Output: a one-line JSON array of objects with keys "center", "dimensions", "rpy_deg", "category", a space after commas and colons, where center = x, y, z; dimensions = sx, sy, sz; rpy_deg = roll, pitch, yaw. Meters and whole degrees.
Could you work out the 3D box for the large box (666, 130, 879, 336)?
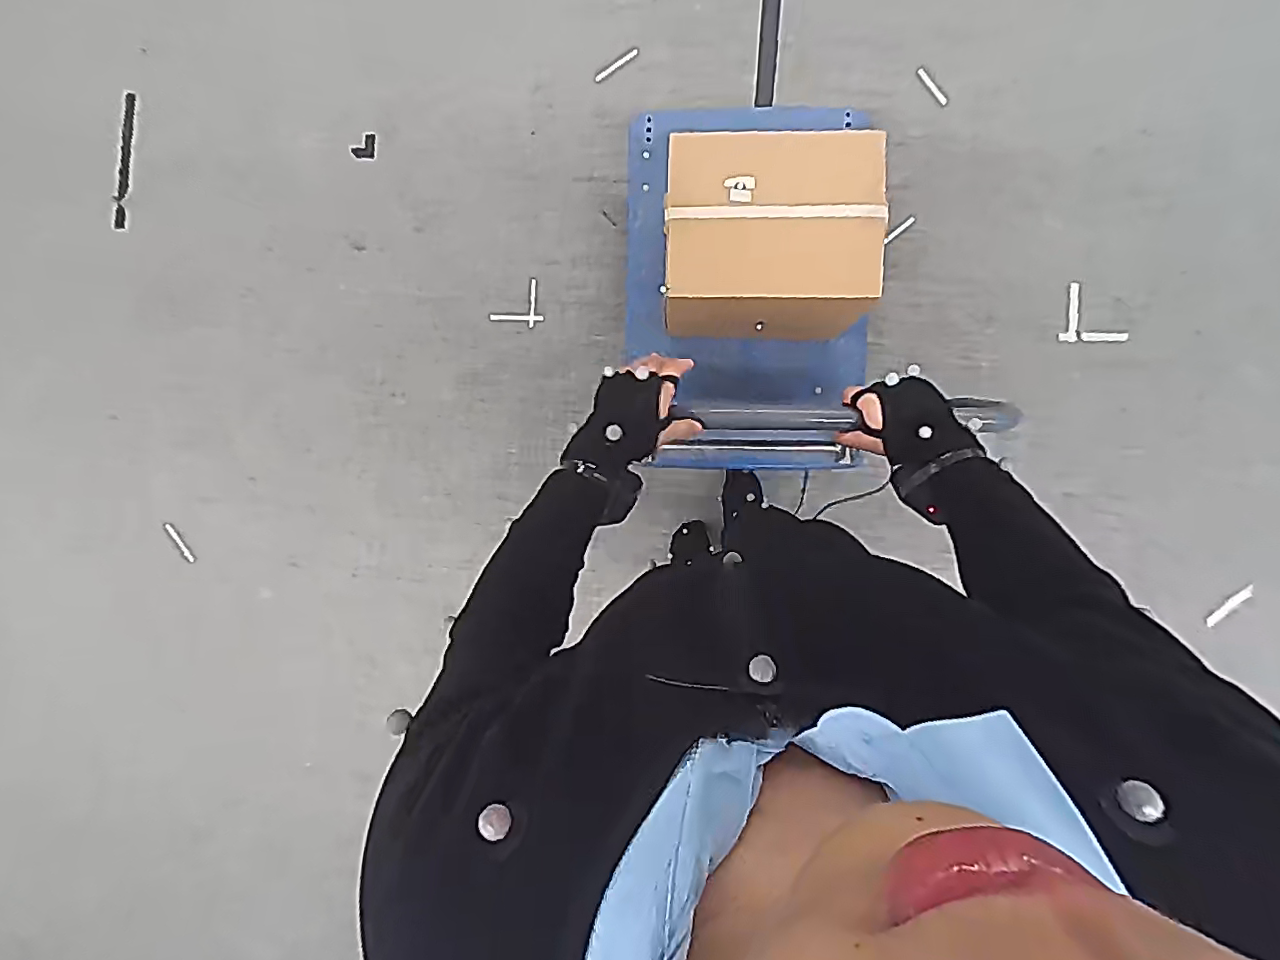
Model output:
[{"center": [0.264, -0.506, 1.178], "dimensions": [0.408, 0.320, 0.320], "rpy_deg": [1, 90, 5], "category": "large box"}]
